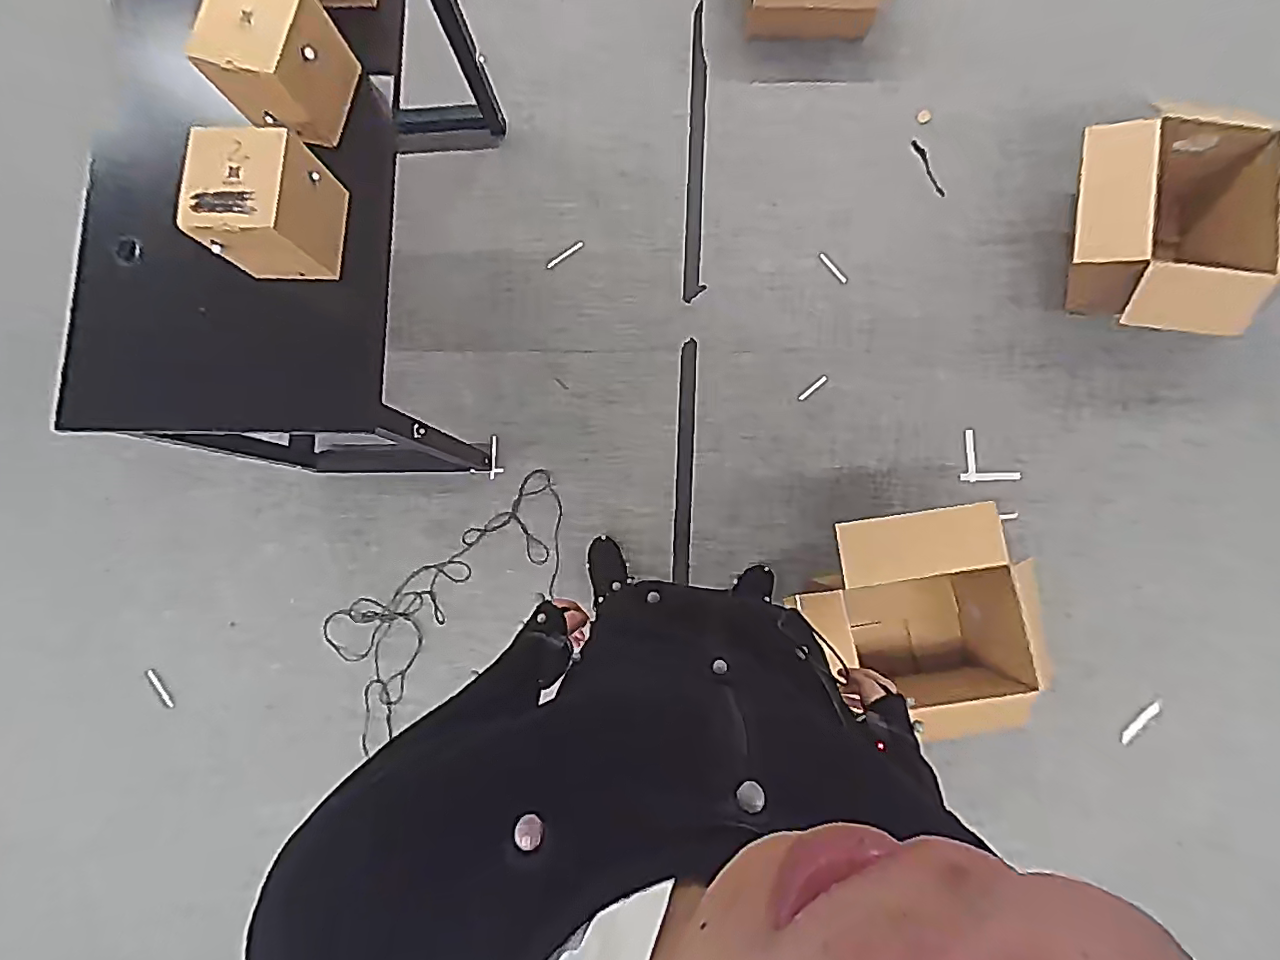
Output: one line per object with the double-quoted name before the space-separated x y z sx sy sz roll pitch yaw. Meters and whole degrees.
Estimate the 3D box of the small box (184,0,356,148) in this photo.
"small box" -0.645 -0.744 0.967 0.168 0.176 0.179 14 86 5
